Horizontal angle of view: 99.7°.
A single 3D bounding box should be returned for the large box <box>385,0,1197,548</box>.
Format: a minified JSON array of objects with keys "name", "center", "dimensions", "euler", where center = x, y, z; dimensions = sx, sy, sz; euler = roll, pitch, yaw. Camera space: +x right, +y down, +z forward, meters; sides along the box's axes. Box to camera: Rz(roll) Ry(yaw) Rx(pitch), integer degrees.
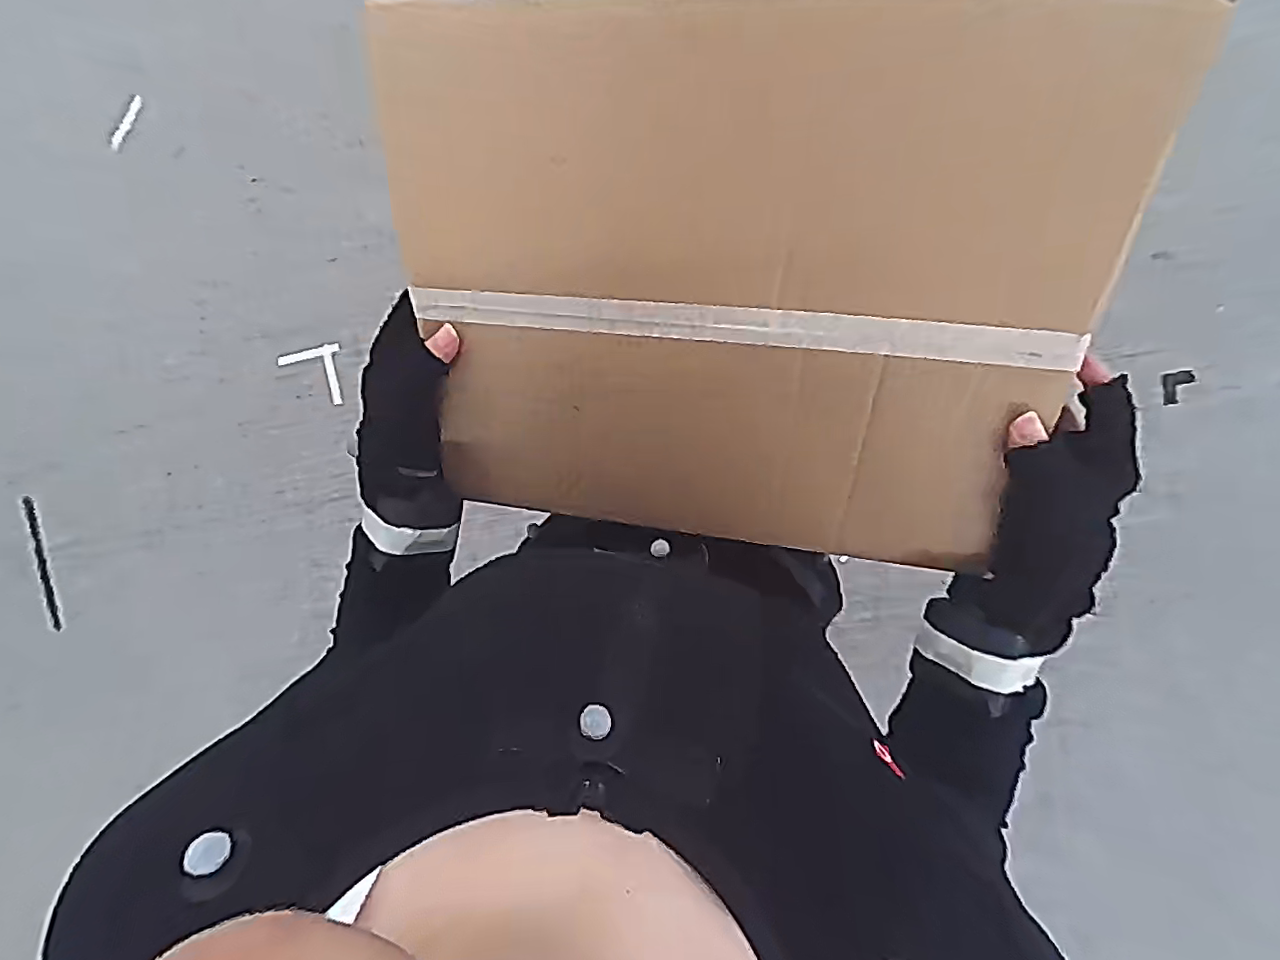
[{"name":"large box","center":[0.076,-0.178,0.467],"dimensions":[0.408,0.320,0.320],"euler":[8,122,10]}]
